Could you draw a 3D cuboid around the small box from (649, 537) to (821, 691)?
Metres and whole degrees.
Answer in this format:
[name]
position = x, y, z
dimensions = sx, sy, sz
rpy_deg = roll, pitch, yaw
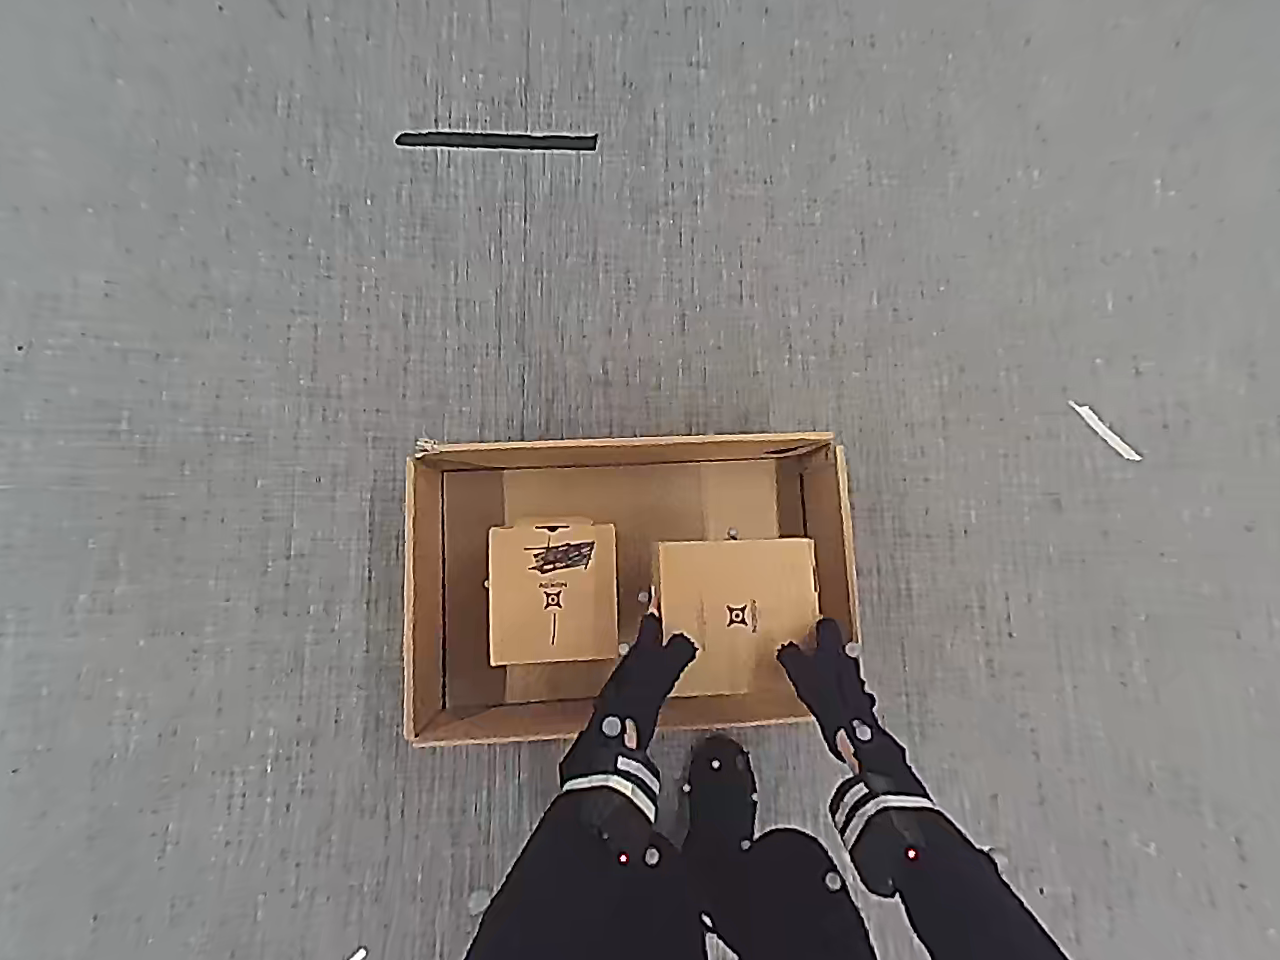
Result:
[small box]
position = 0.106, 0.155, 0.673
dimensions = 0.179, 0.176, 0.168
rpy_deg = -1, 82, -3
